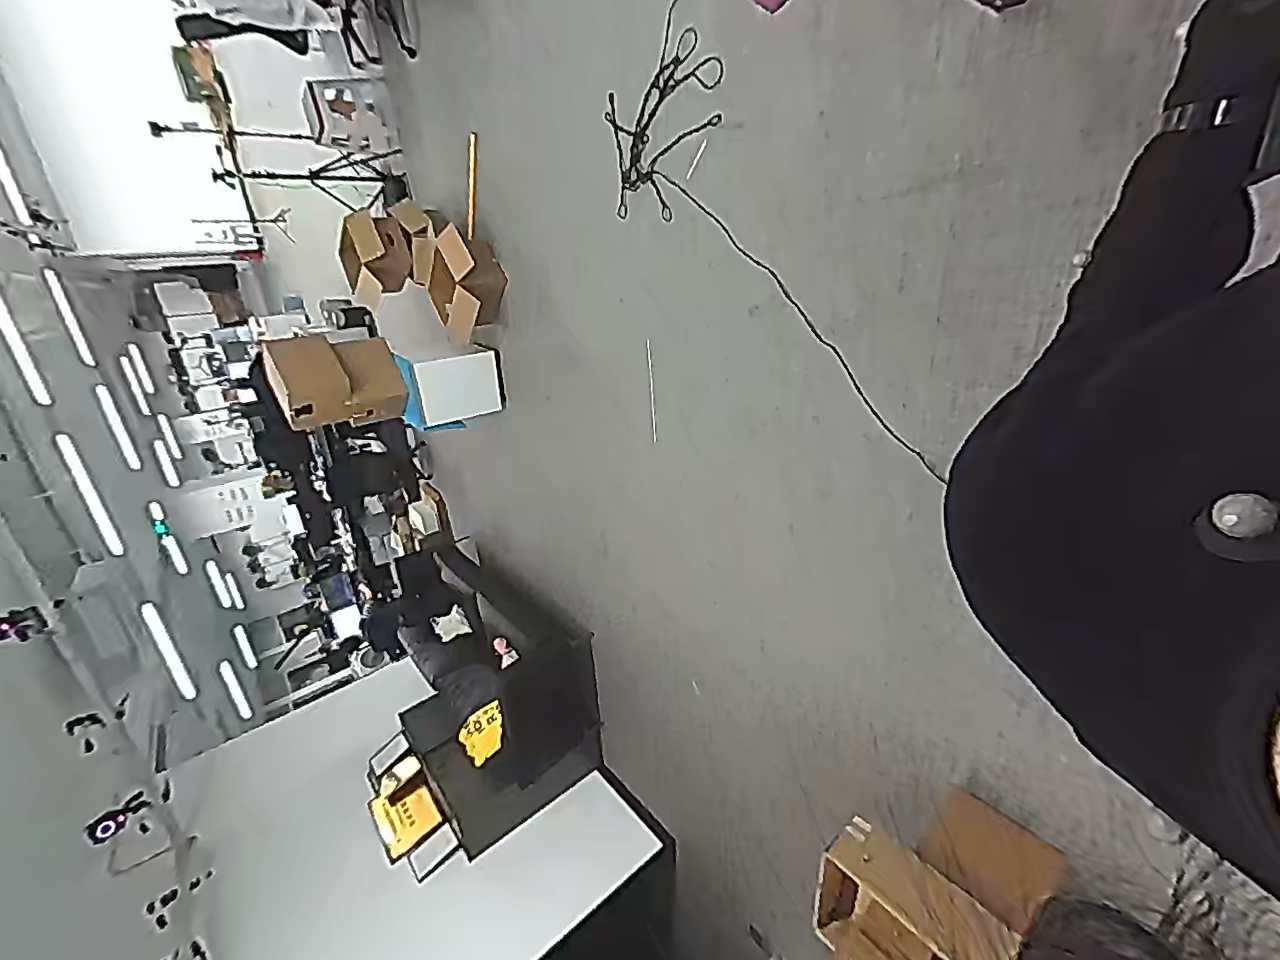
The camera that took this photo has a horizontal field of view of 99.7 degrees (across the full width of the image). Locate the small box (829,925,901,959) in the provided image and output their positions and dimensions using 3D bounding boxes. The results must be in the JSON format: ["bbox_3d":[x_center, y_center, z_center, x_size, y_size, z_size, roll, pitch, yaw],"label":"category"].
[{"bbox_3d":[0.601,1.337,1.430,0.179,0.176,0.168,27,129,43],"label":"small box"}]
